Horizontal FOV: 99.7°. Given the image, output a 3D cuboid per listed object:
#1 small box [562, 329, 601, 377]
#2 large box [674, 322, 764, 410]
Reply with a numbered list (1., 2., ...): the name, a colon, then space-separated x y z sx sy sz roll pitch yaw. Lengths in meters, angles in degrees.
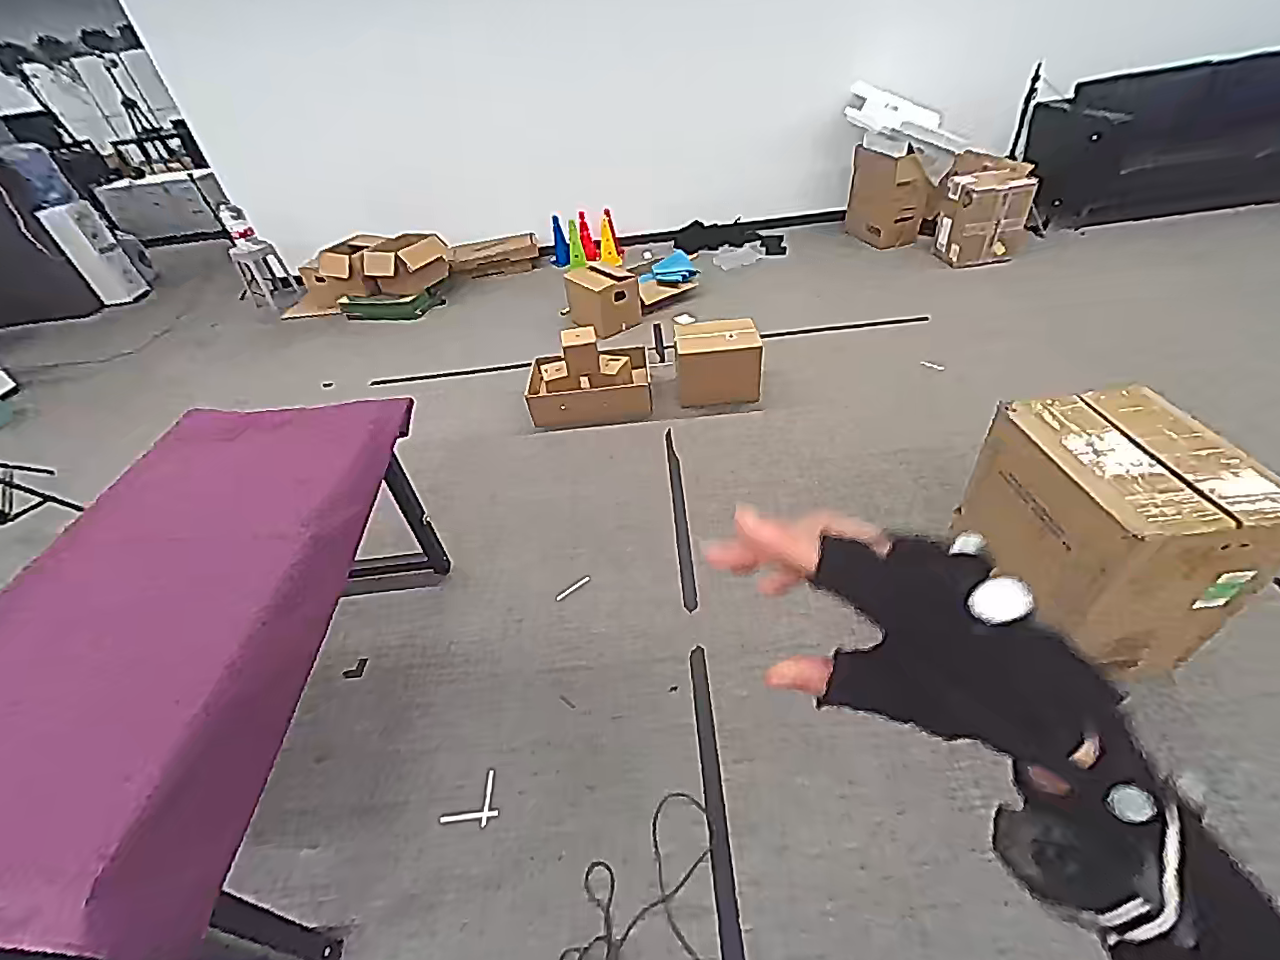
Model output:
1. small box: -0.288 -0.622 2.676 0.168 0.176 0.179 -10 39 -5
2. large box: 0.391 -0.579 2.748 0.408 0.320 0.320 -5 41 1
